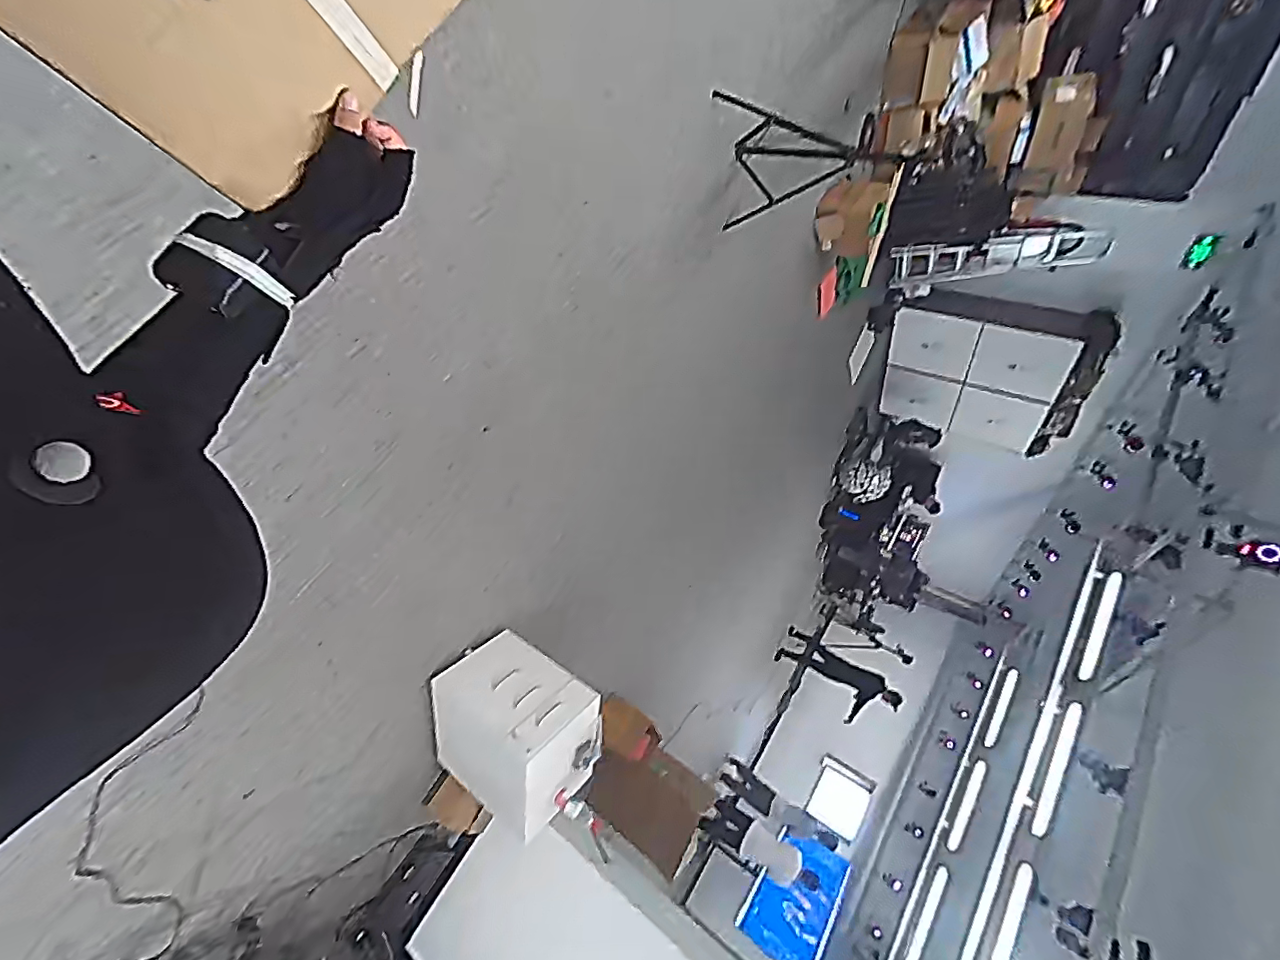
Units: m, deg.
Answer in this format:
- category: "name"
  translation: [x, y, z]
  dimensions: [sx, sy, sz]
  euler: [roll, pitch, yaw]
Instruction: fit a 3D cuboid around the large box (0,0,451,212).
- category: "large box"
  translation: [-0.389, -0.480, 0.350]
  dimensions: [0.320, 0.320, 0.408]
  euler: [-49, 152, 0]
